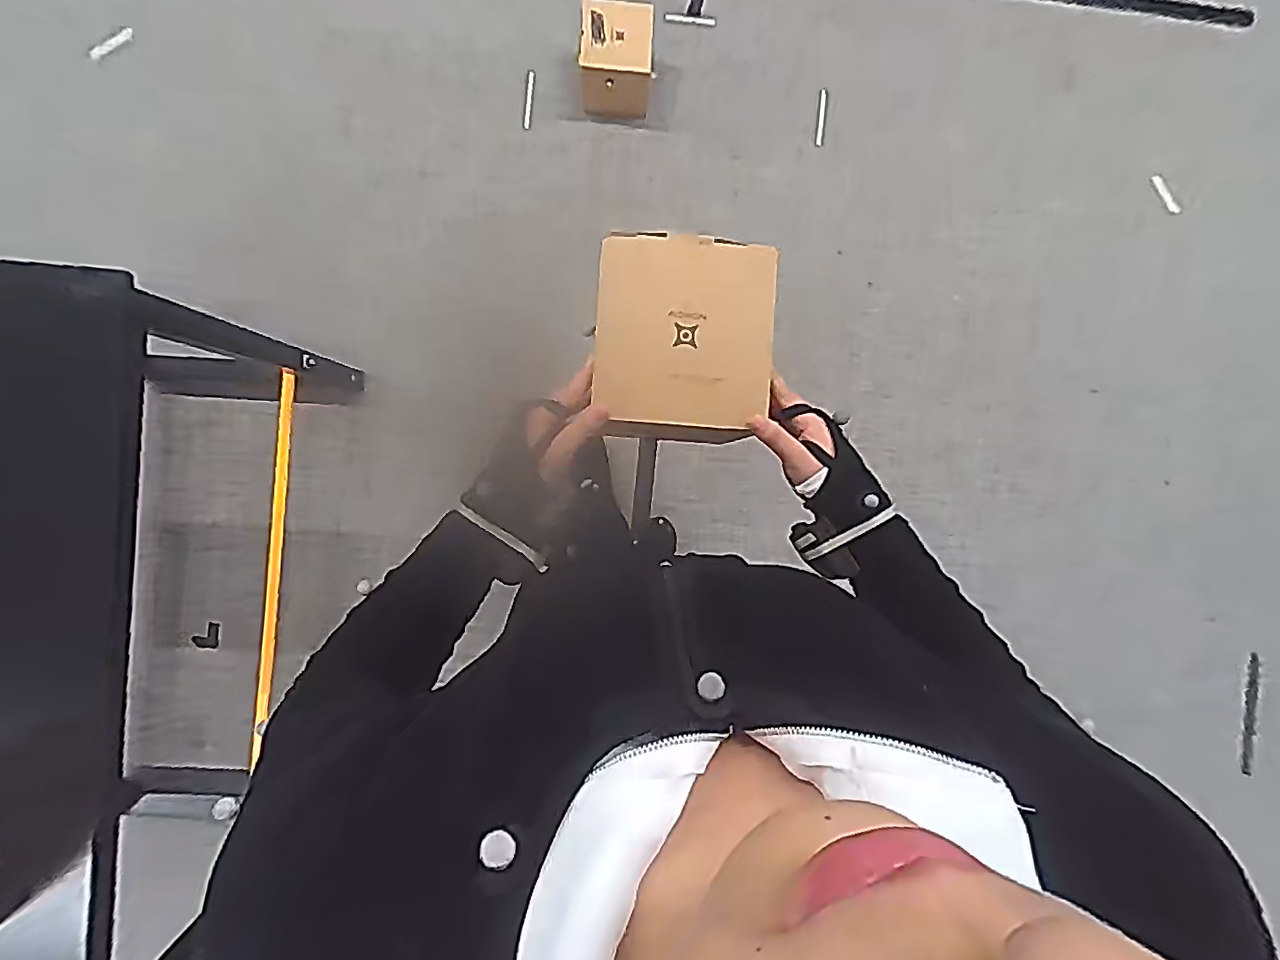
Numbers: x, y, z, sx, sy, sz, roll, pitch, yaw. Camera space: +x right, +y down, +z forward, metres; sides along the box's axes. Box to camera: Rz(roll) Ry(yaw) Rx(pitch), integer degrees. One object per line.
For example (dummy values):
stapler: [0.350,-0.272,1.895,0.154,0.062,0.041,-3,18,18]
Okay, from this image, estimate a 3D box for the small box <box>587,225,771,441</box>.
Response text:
small box: [0.030,-0.140,0.576,0.168,0.176,0.179,3,89,-4]

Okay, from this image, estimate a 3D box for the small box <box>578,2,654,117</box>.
small box: [-0.061,-1.069,1.387,0.179,0.176,0.168,3,91,-3]
